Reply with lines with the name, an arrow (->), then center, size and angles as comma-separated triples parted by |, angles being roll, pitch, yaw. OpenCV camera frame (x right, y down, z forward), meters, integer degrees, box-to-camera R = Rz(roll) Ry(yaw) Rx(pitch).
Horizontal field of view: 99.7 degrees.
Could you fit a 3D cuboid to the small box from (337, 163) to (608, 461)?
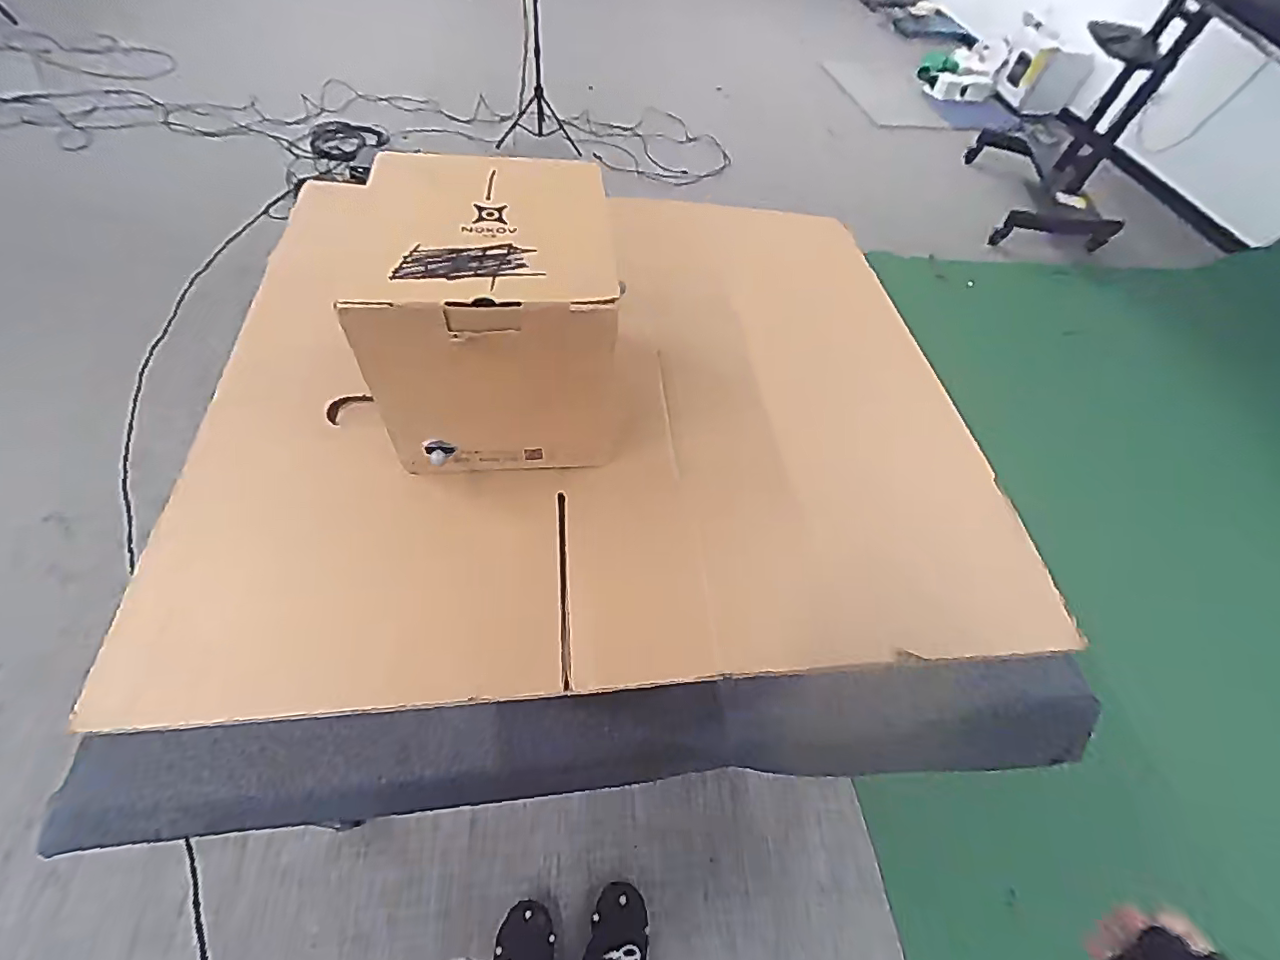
small box -> -0.114, -0.126, 0.437 | 0.168, 0.176, 0.179 | -2, 55, -8
